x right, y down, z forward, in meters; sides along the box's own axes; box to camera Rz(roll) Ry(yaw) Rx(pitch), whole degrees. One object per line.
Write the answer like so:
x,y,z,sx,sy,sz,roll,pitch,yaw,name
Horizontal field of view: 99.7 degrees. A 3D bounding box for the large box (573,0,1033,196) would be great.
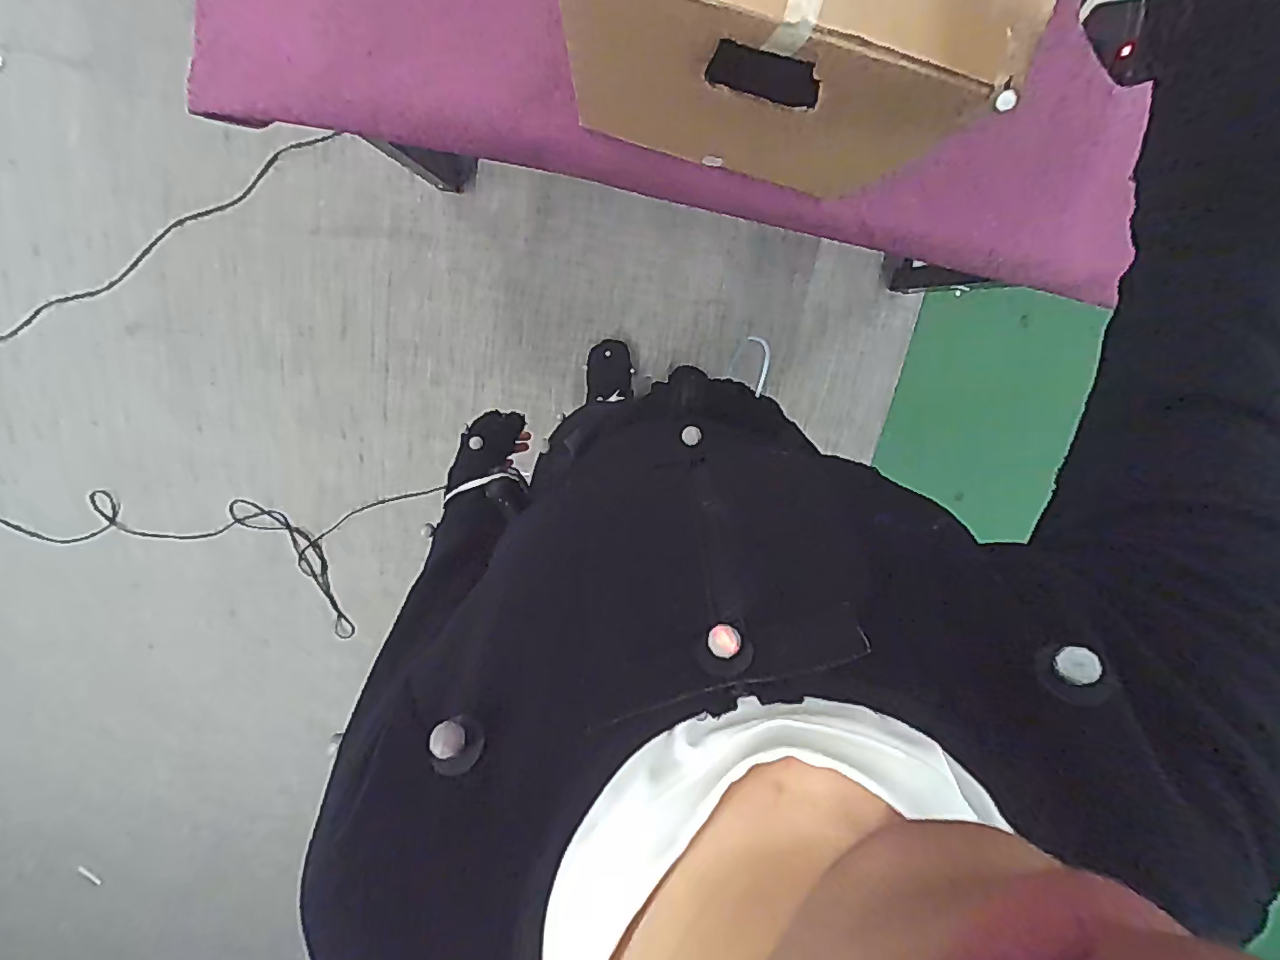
0.135,-0.516,0.449,0.320,0.320,0.408,12,106,-6,large box
